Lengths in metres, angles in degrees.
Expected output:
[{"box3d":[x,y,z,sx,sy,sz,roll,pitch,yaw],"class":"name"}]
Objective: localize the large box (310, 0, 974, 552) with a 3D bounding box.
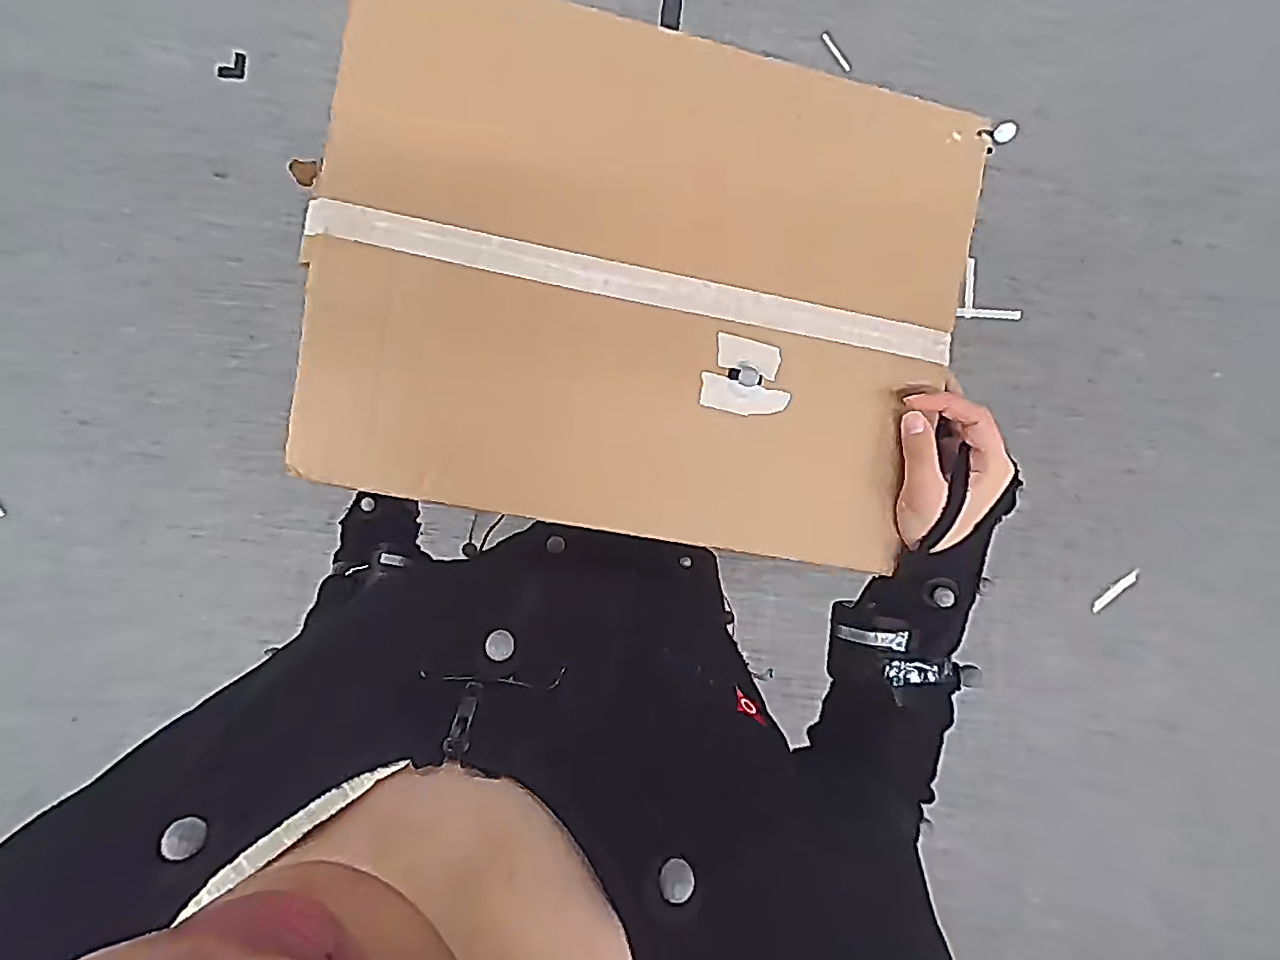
[{"box3d":[-0.007,-0.137,0.497,0.408,0.320,0.320,10,93,-8],"class":"large box"}]
